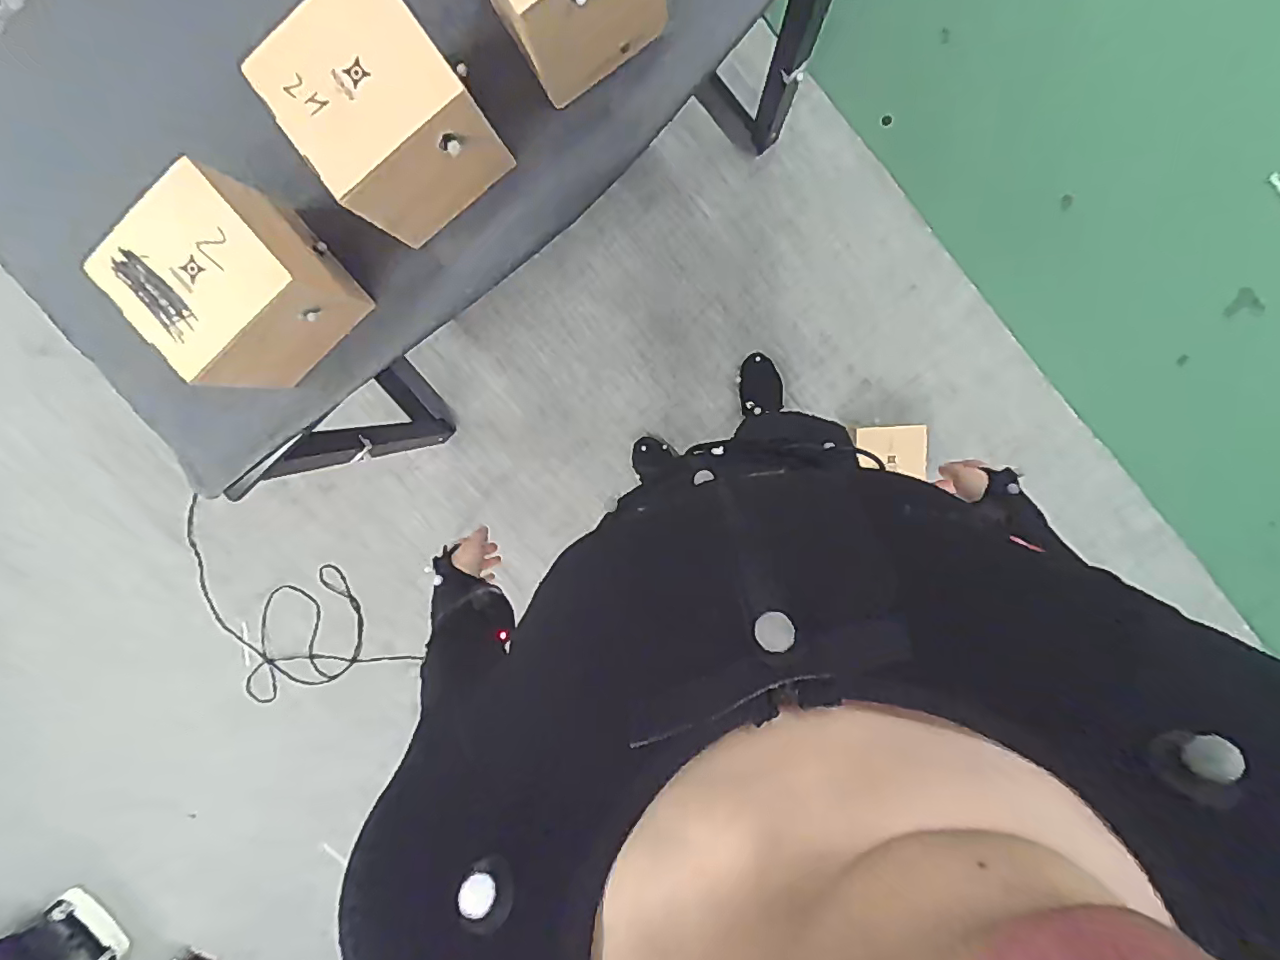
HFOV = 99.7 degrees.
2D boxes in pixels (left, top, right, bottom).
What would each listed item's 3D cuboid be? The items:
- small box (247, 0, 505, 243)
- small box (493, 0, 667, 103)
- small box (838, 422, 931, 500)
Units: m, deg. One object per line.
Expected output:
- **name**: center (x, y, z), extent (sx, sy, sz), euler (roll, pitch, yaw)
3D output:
- **small box**: center (-0.277, -0.410, 0.618), extent (0.179, 0.176, 0.168), euler (-35, 93, 10)
- **small box**: center (-0.084, -0.567, 0.581), extent (0.168, 0.176, 0.179), euler (-31, 93, 8)
- **small box**: center (0.604, -0.052, 1.354), extent (0.168, 0.176, 0.179), euler (-2, 98, 4)
